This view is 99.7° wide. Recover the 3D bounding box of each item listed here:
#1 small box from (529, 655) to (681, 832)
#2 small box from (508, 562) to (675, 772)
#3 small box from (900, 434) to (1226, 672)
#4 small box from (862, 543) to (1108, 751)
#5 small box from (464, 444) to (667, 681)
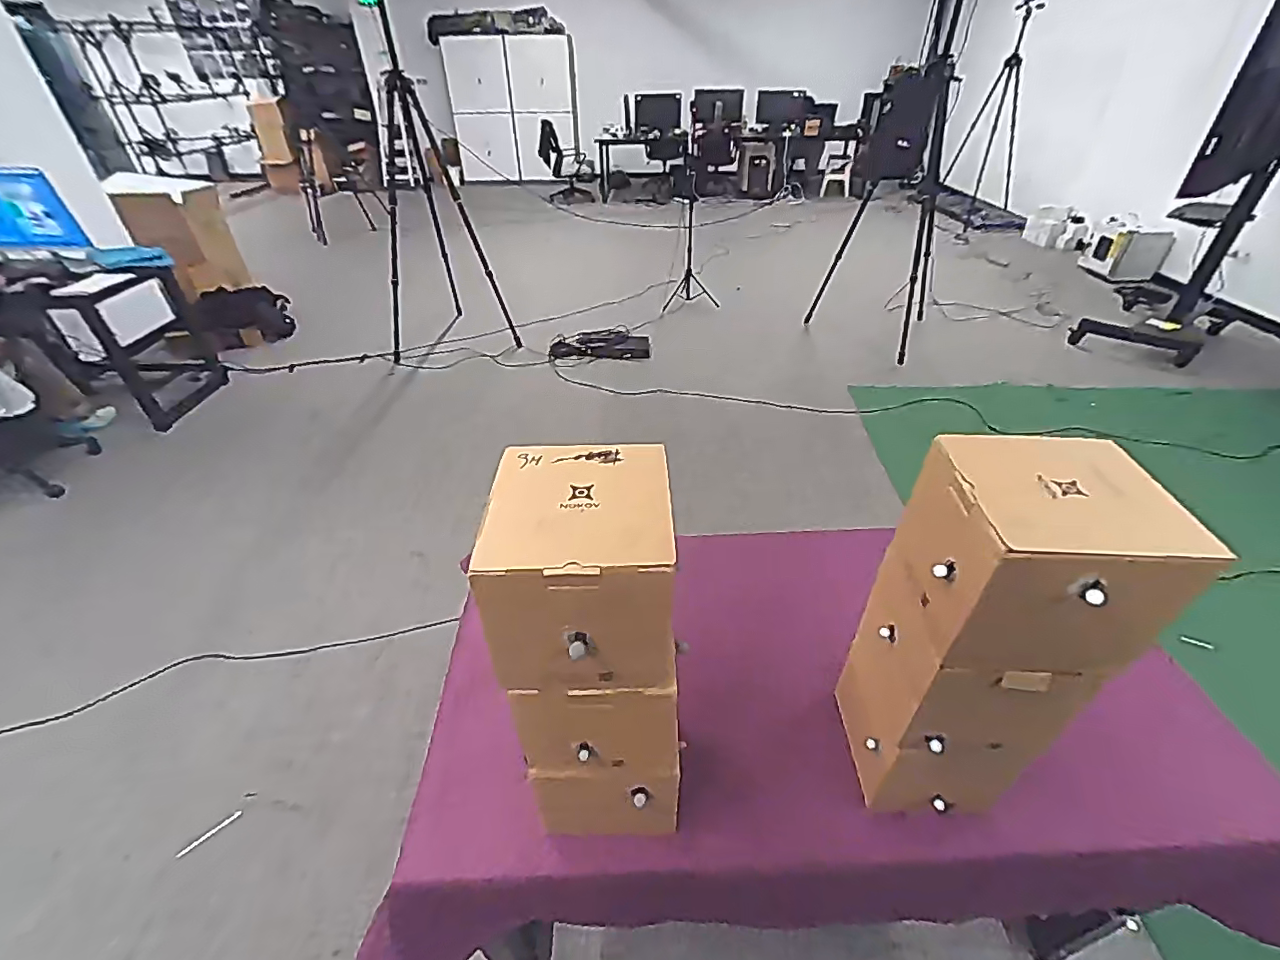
[{"bbox_3d":[-0.038,0.350,0.728,0.179,0.176,0.168,-1,37,2],"label":"small box"},{"bbox_3d":[-0.044,0.215,0.636,0.168,0.176,0.179,0,38,2],"label":"small box"},{"bbox_3d":[0.377,0.070,0.533,0.179,0.176,0.168,2,39,5],"label":"small box"},{"bbox_3d":[0.380,0.196,0.638,0.168,0.176,0.179,1,37,4],"label":"small box"},{"bbox_3d":[-0.057,0.083,0.539,0.168,0.176,0.179,-1,38,0],"label":"small box"}]
